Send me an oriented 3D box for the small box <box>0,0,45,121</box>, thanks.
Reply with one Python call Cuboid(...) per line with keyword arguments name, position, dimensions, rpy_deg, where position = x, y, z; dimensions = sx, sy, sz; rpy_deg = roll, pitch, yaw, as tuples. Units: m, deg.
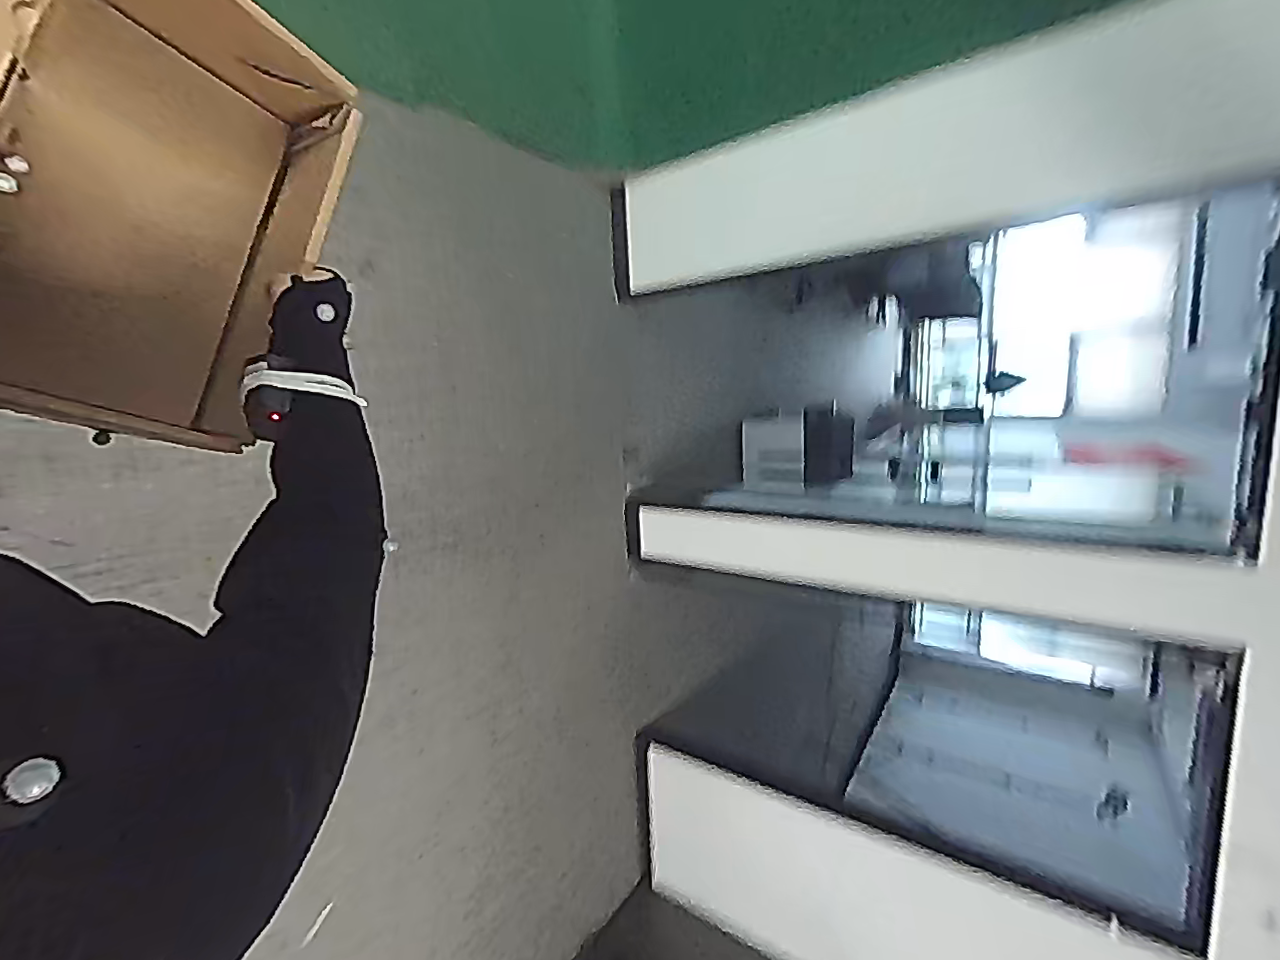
Cuboid(name="small box", position=(-0.414, -0.253, 0.246), dimensions=(0.179, 0.176, 0.168), rpy_deg=(20, 81, -52))
